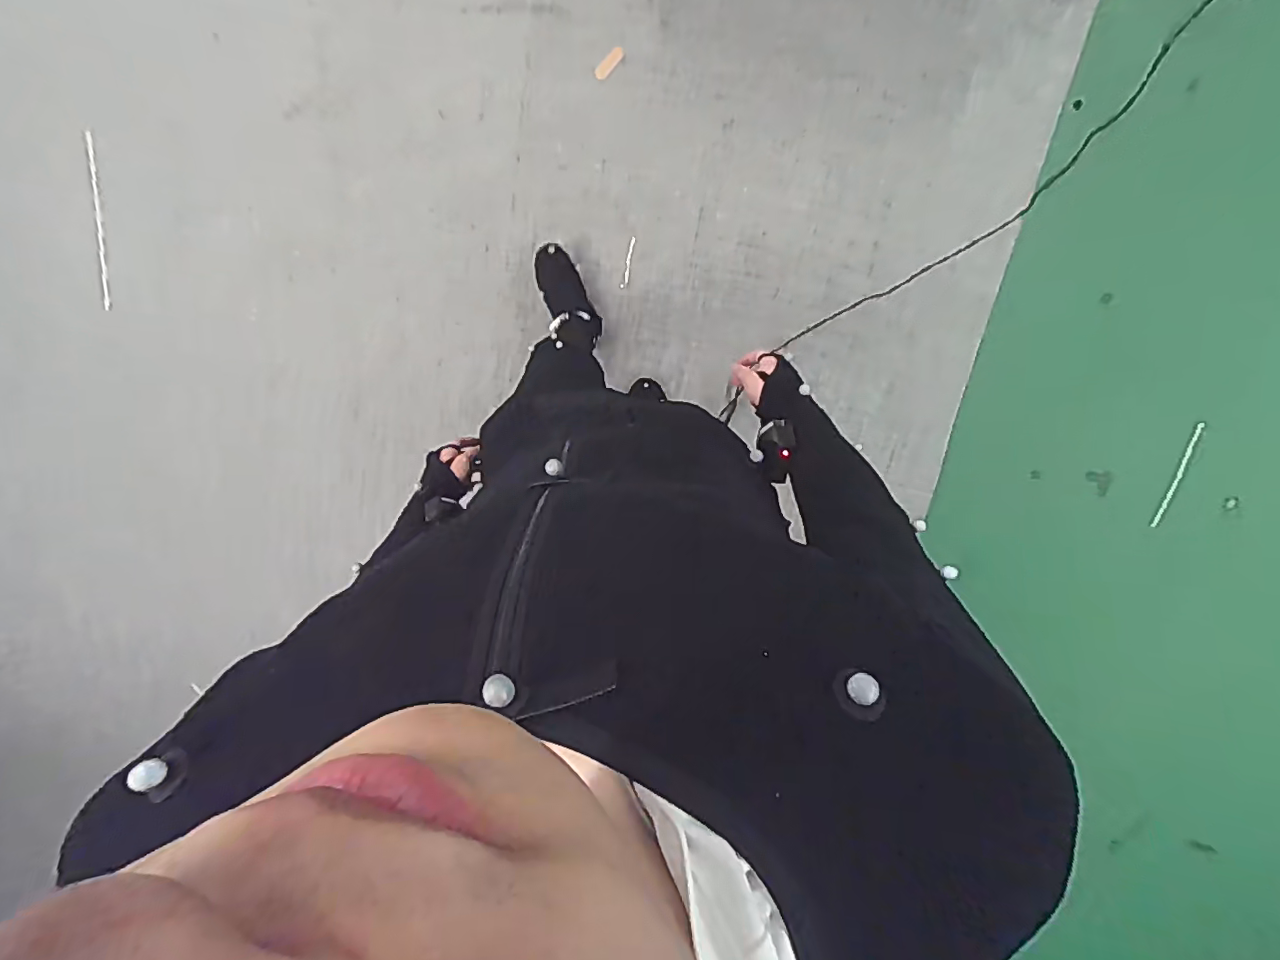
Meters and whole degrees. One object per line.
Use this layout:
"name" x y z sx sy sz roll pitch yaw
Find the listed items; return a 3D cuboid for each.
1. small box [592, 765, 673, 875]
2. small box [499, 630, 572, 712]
"small box" -0.015 0.912 1.465 0.179 0.176 0.168 18 105 0
"small box" -0.333 0.611 1.750 0.179 0.176 0.168 16 106 -1
